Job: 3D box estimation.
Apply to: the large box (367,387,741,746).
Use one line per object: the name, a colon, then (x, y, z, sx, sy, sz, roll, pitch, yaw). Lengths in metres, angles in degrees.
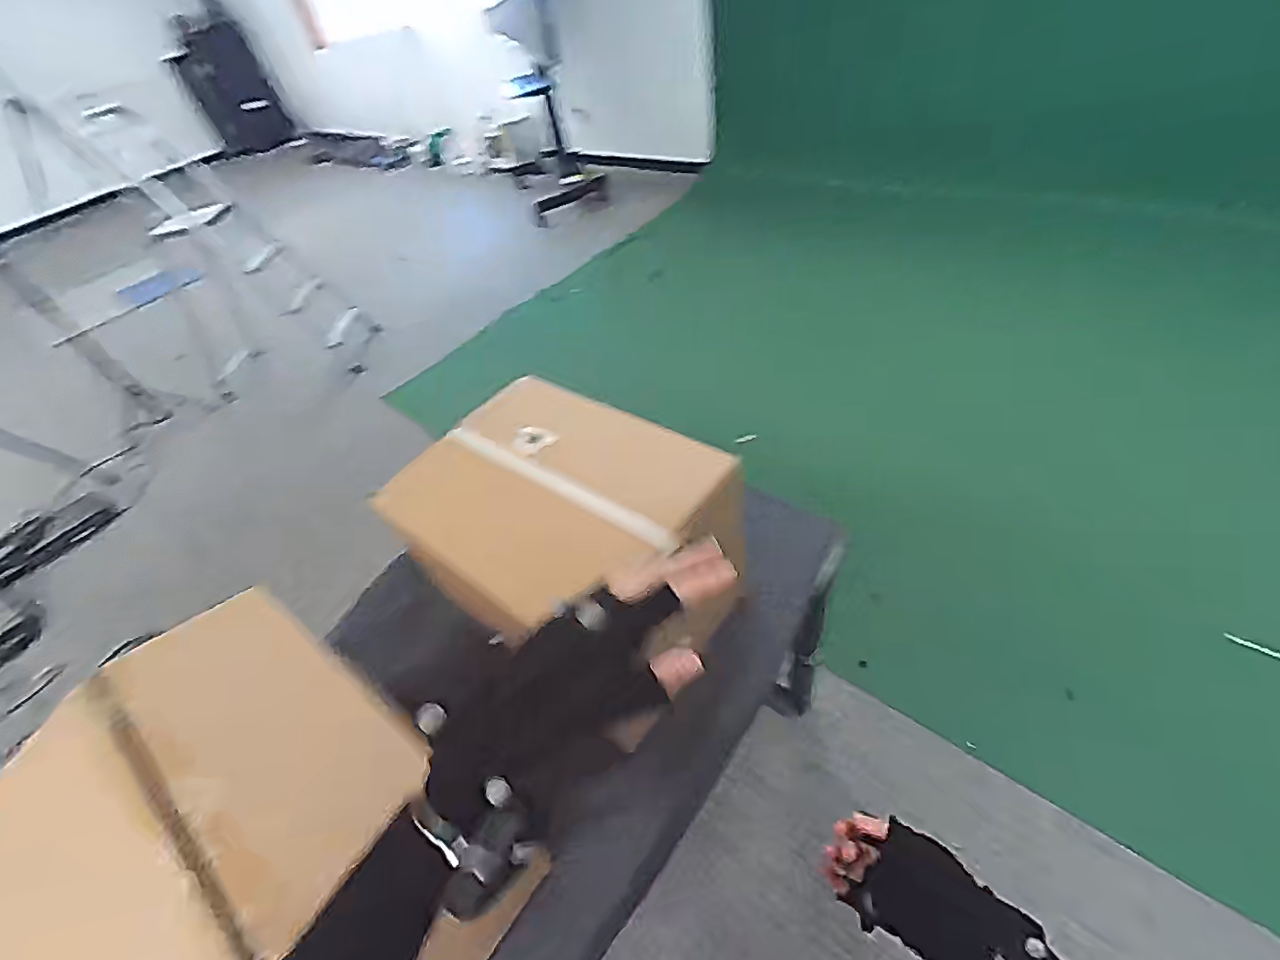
large box: (-0.103, 0.112, 0.813, 0.408, 0.320, 0.320, 24, 56, 32)
